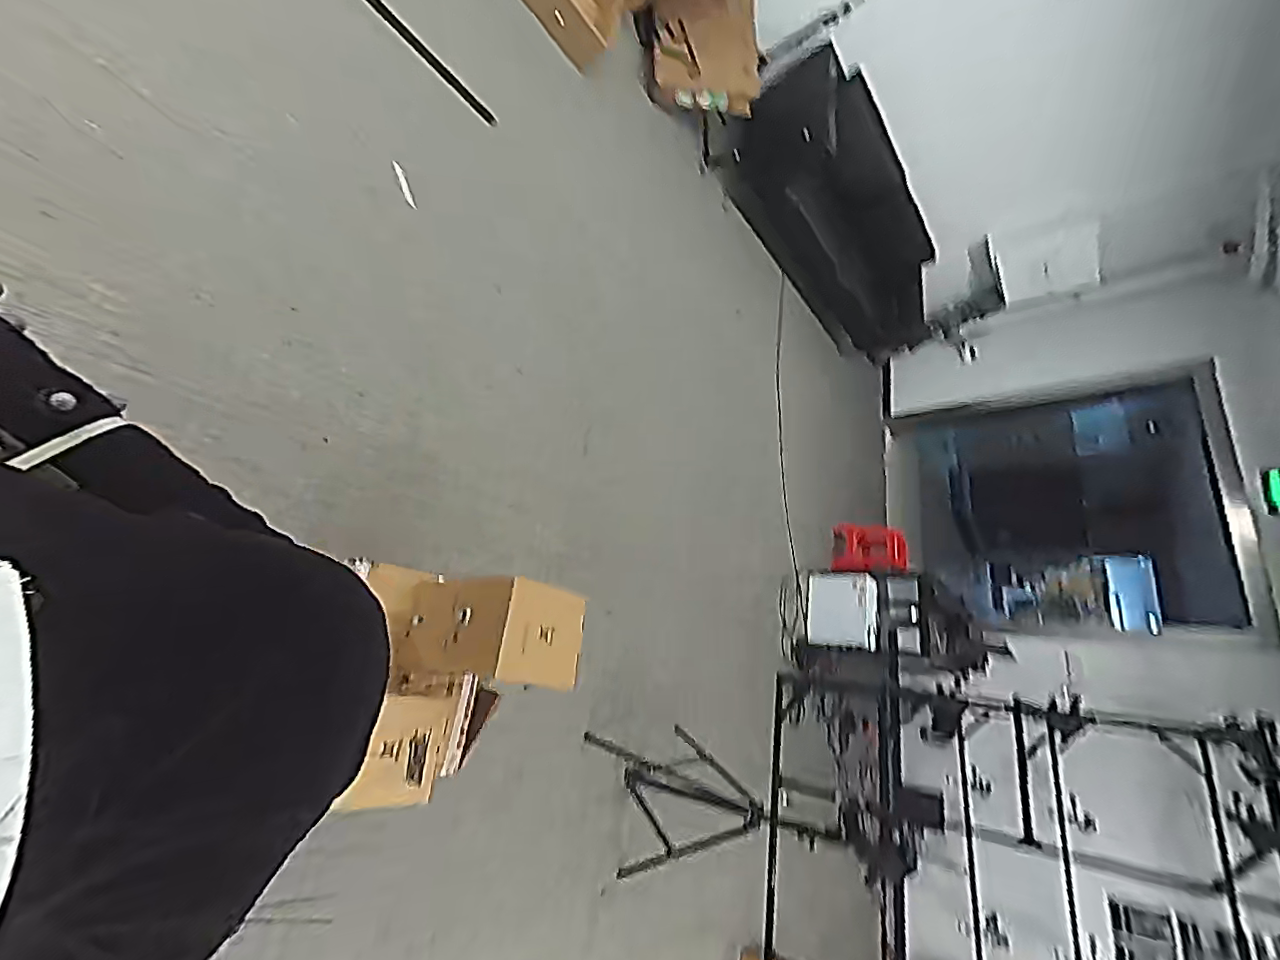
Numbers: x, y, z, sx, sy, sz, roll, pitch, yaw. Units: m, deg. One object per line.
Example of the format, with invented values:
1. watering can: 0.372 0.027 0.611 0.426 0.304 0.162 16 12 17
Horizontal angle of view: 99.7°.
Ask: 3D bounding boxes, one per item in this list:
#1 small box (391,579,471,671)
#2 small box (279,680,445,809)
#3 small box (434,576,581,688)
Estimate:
1. small box: -0.361 0.298 1.084 0.179 0.176 0.168 29 59 -43
2. small box: -0.472 0.442 0.922 0.179 0.176 0.168 28 62 -43
3. small box: -0.237 0.276 0.981 0.179 0.176 0.168 29 59 -43
